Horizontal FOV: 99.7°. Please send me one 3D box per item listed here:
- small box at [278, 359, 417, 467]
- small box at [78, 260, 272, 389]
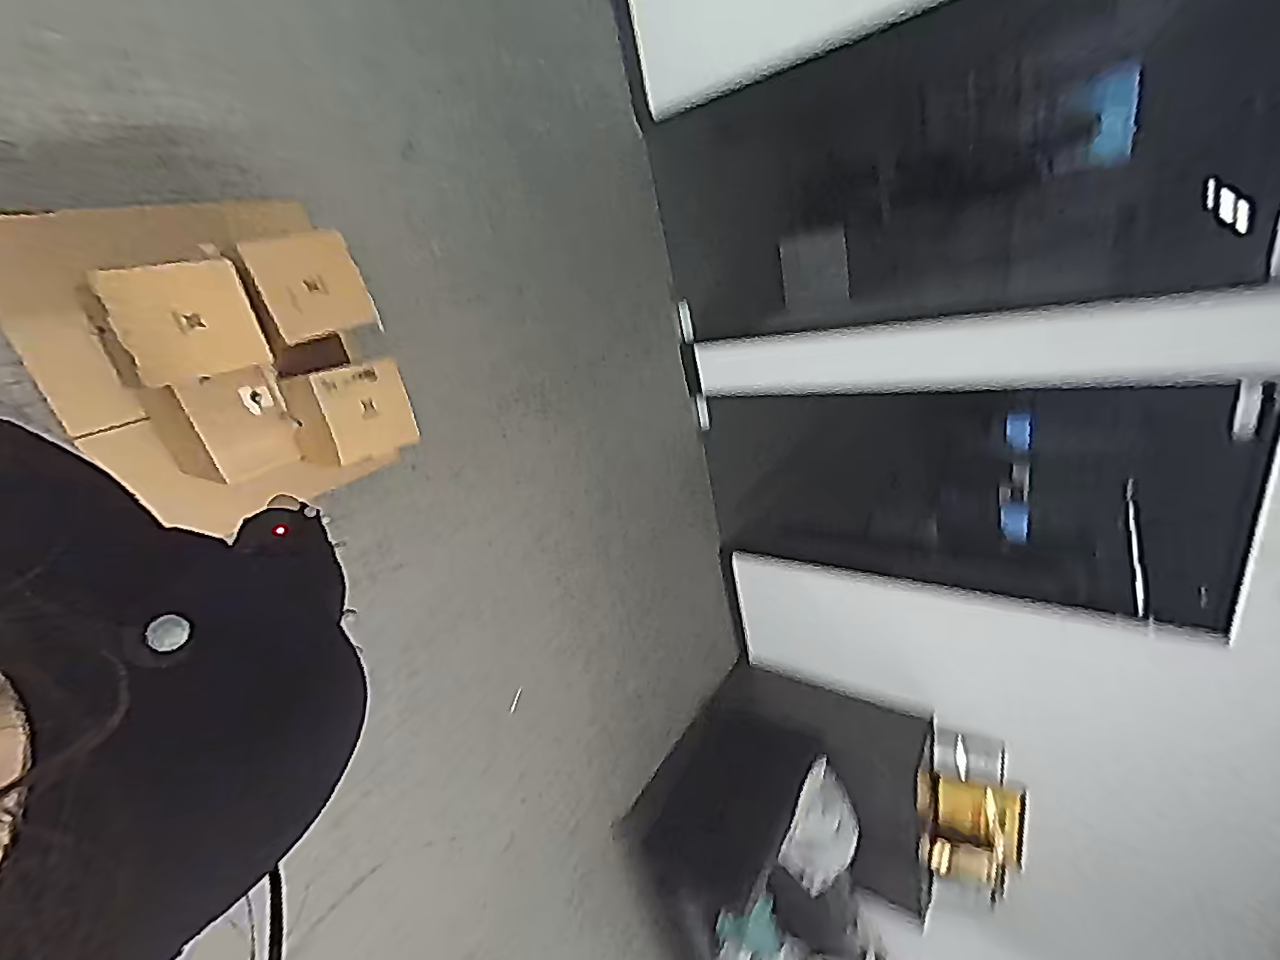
[{"bbox_3d":[-0.585,-0.138,1.084,0.168,0.176,0.179,-30,117,-46],"label":"small box"},{"bbox_3d":[-0.745,-0.250,0.871,0.179,0.176,0.168,-32,120,-43],"label":"small box"}]
